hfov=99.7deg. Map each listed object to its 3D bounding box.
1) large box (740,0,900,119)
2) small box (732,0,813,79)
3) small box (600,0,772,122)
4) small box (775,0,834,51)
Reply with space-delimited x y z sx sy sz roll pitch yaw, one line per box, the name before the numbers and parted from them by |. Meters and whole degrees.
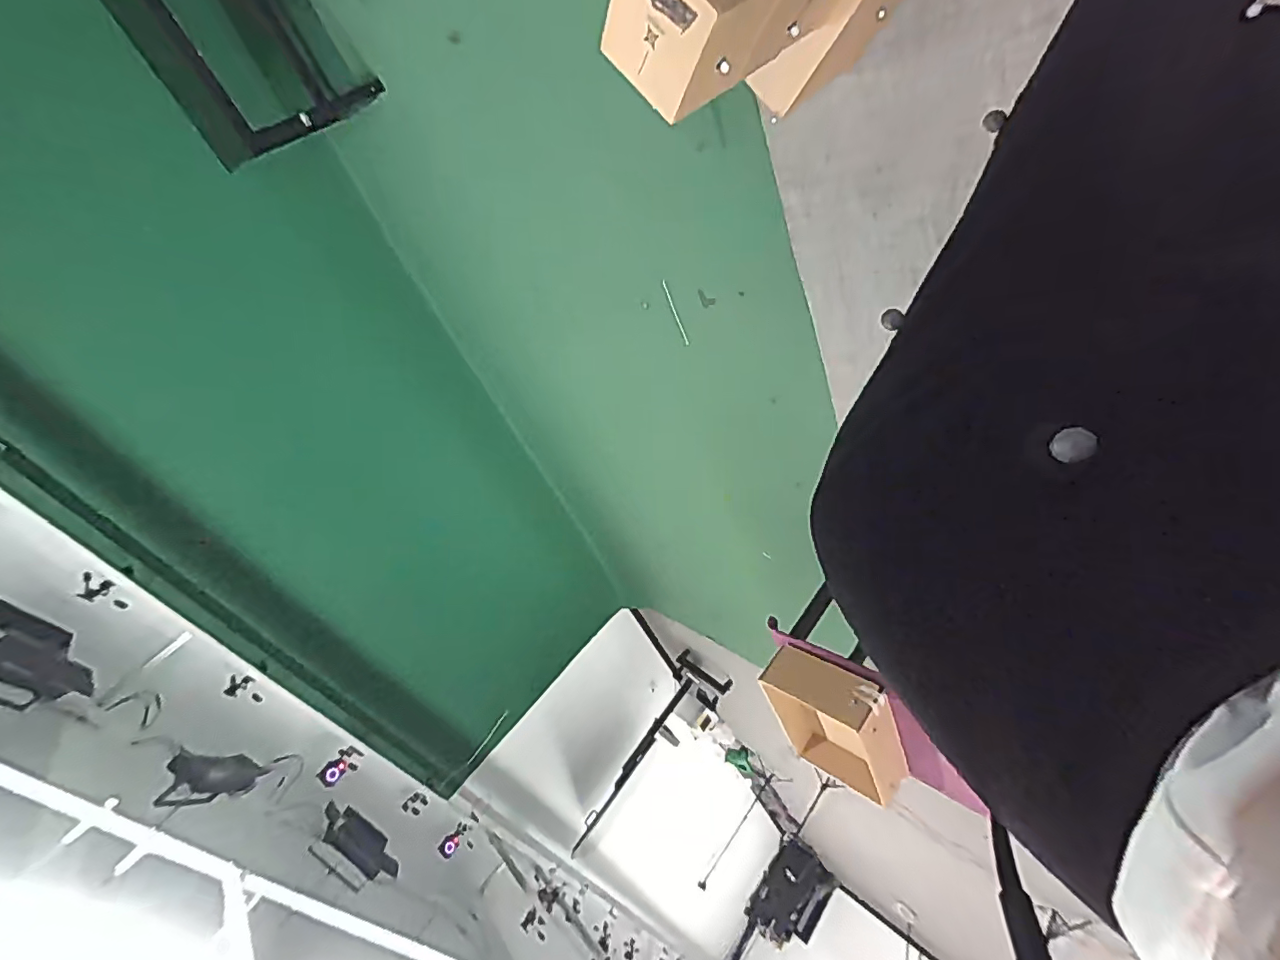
large box | 0.382 -1.078 1.105 0.320 0.320 0.408 47 156 -3
small box | 0.172 -0.804 0.871 0.179 0.176 0.168 46 156 -5
small box | 0.072 -0.695 0.801 0.168 0.176 0.179 46 157 -3
small box | 0.270 -0.915 0.939 0.168 0.176 0.179 46 156 -3
